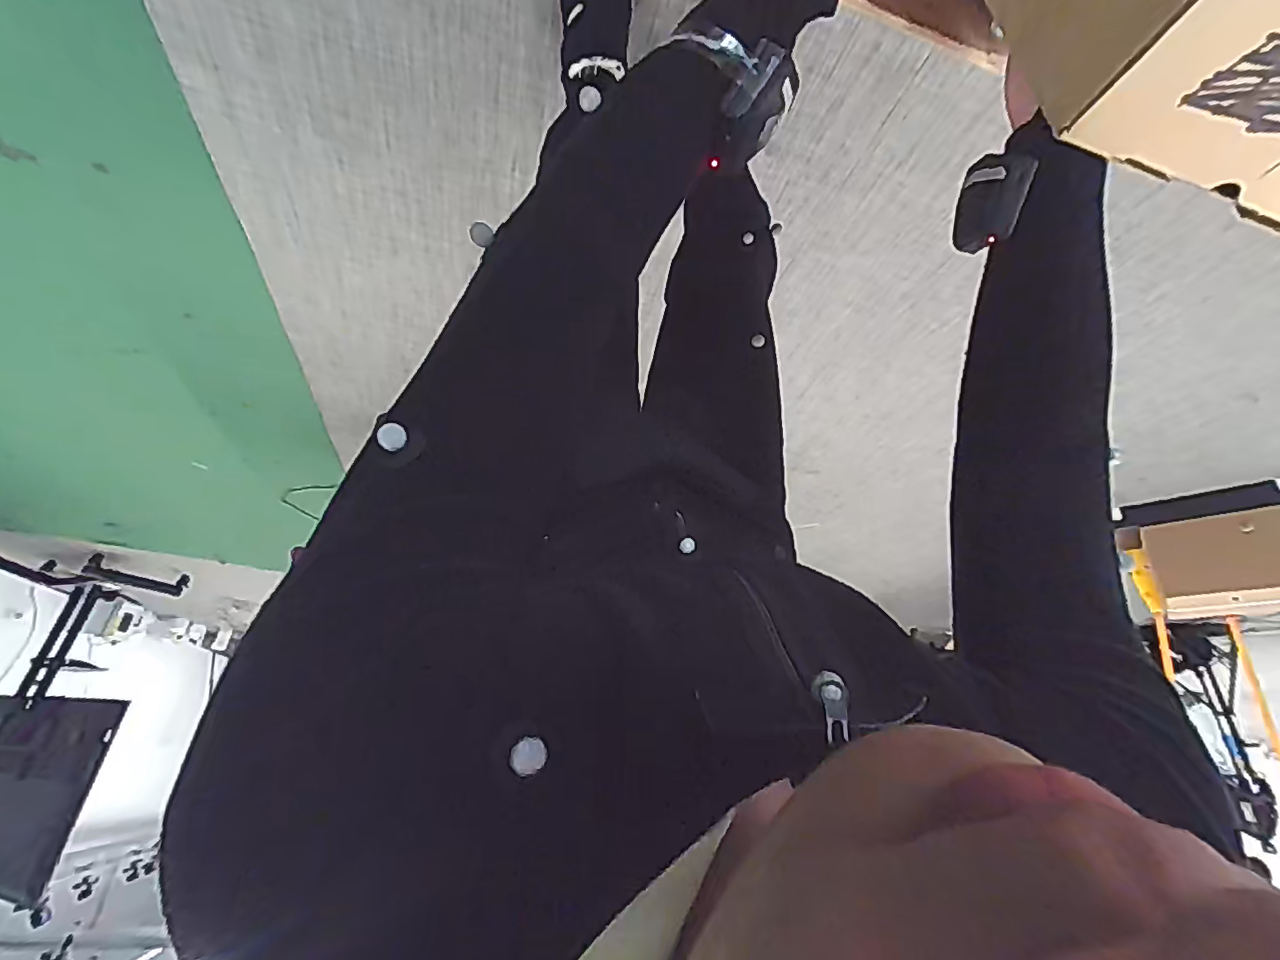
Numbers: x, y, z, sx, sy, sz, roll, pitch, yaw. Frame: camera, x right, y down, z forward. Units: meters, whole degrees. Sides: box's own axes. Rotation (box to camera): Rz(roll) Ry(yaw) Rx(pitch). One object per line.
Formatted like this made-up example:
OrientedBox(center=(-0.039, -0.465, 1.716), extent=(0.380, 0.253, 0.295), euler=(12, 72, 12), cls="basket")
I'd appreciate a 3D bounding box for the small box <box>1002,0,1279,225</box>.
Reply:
OrientedBox(center=(0.258, -0.227, 0.184), extent=(0.168, 0.176, 0.179), euler=(10, 150, -13), cls="small box")
